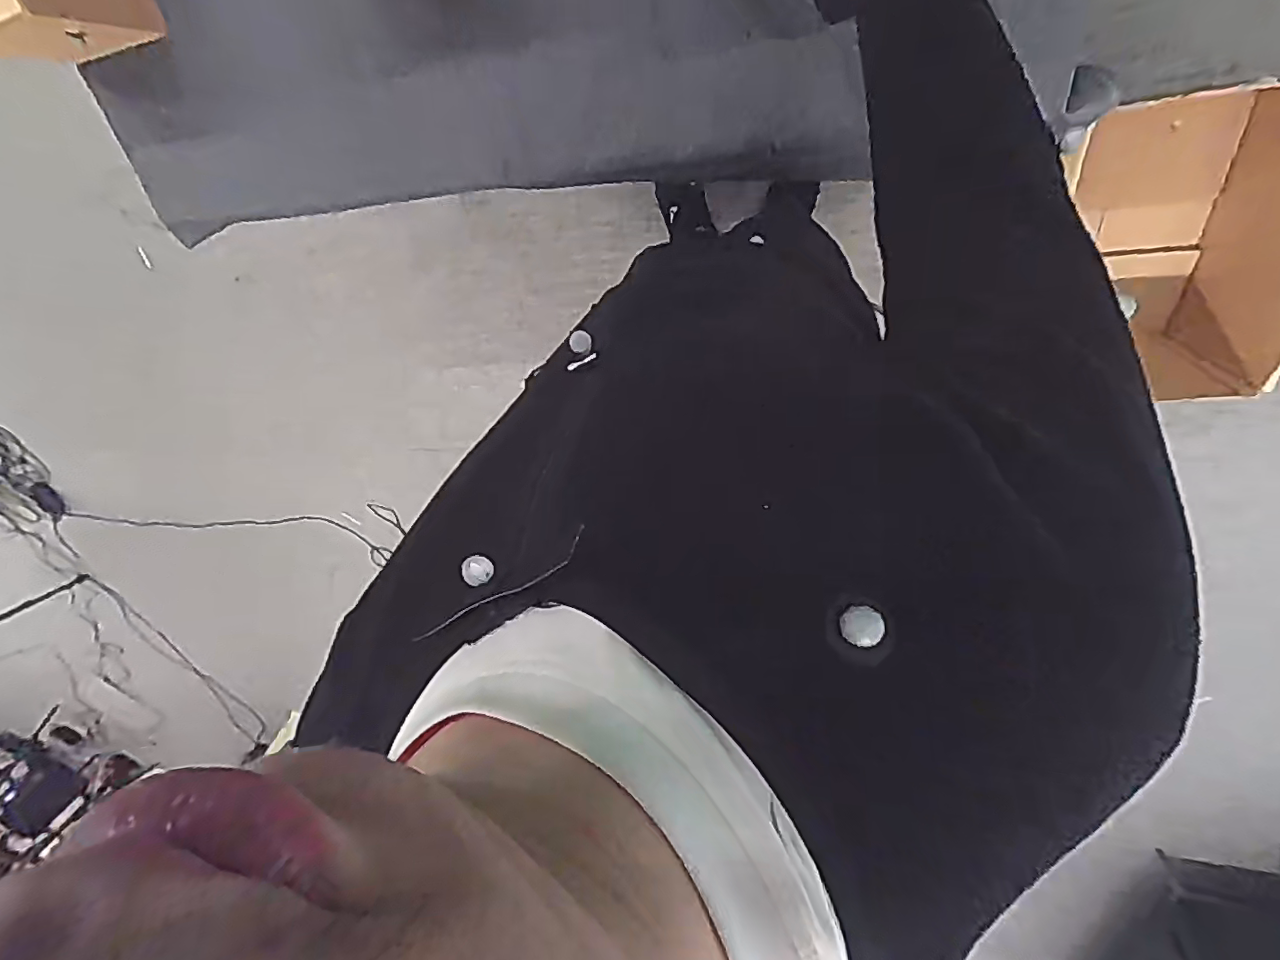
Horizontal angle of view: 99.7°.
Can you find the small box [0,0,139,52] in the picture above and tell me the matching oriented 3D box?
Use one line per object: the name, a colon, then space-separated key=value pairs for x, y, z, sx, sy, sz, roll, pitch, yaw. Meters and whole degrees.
small box: x=-0.708 y=-0.586 z=0.582 sx=0.179 sy=0.176 sz=0.168 roll=-1 pitch=122 yaw=16
